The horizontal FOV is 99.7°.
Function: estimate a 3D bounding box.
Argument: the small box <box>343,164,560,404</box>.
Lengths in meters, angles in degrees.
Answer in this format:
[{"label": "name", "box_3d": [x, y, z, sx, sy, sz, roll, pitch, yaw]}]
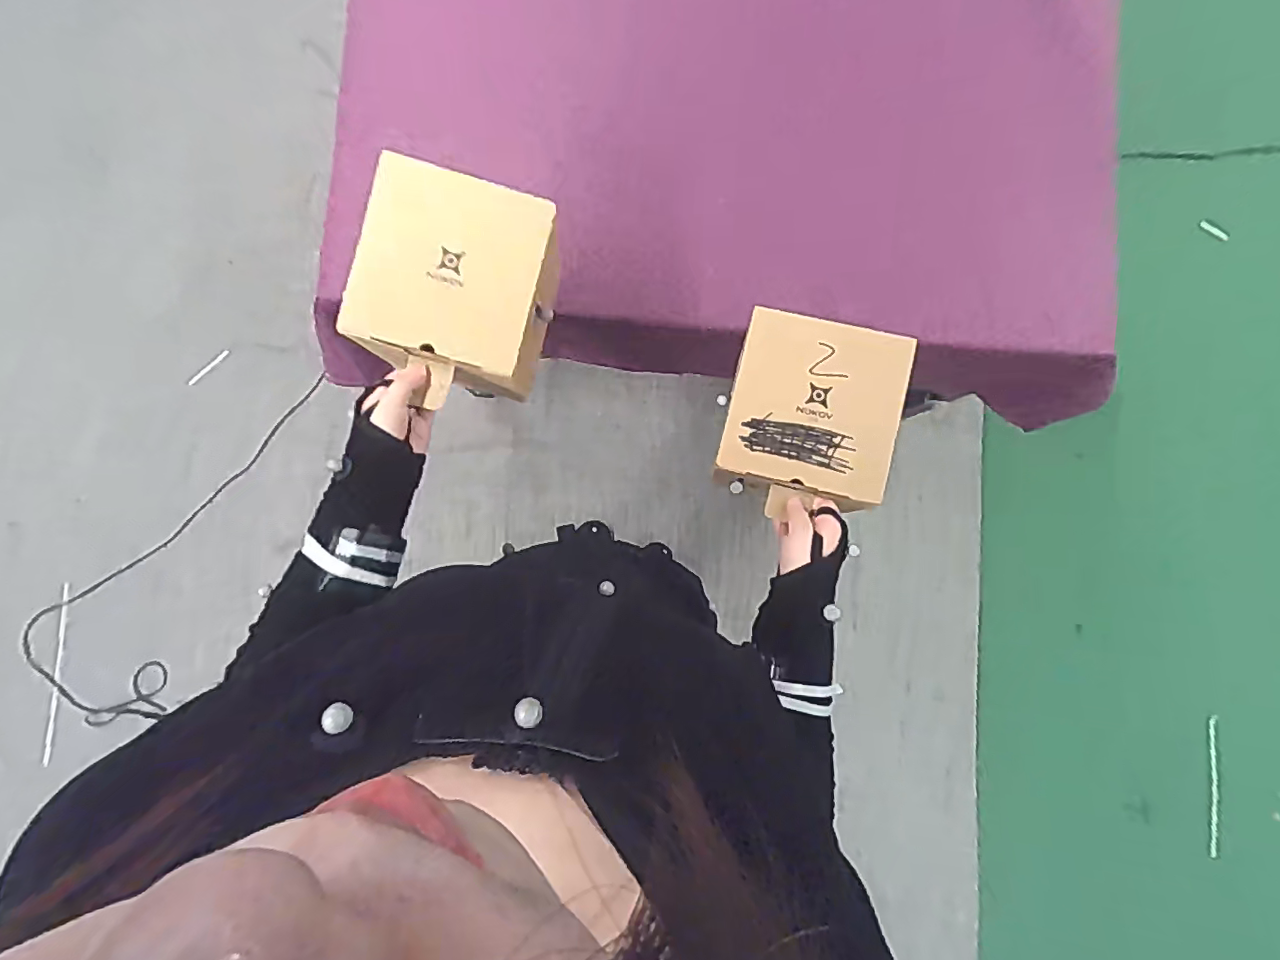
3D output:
[{"label": "small box", "box_3d": [-0.191, -0.196, 0.597, 0.168, 0.176, 0.179, 15, 89, -8]}]
